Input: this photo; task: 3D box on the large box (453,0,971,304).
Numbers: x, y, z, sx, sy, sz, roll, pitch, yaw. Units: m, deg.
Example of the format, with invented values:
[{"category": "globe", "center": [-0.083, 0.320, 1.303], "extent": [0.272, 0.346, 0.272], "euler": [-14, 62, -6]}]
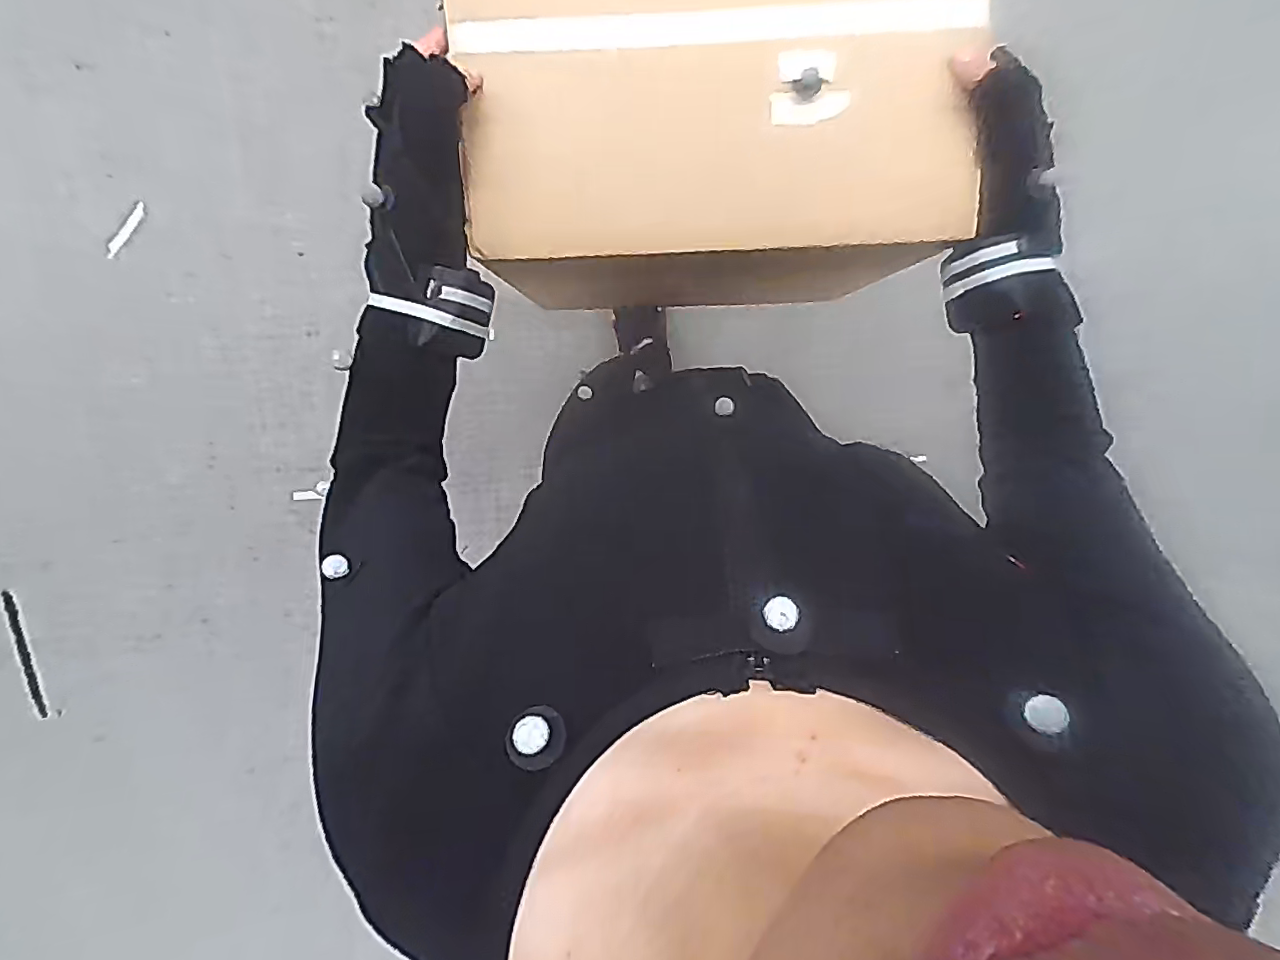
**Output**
[{"category": "large box", "center": [0.054, -0.375, 0.562], "extent": [0.408, 0.320, 0.320], "euler": [-2, 100, 0]}]
